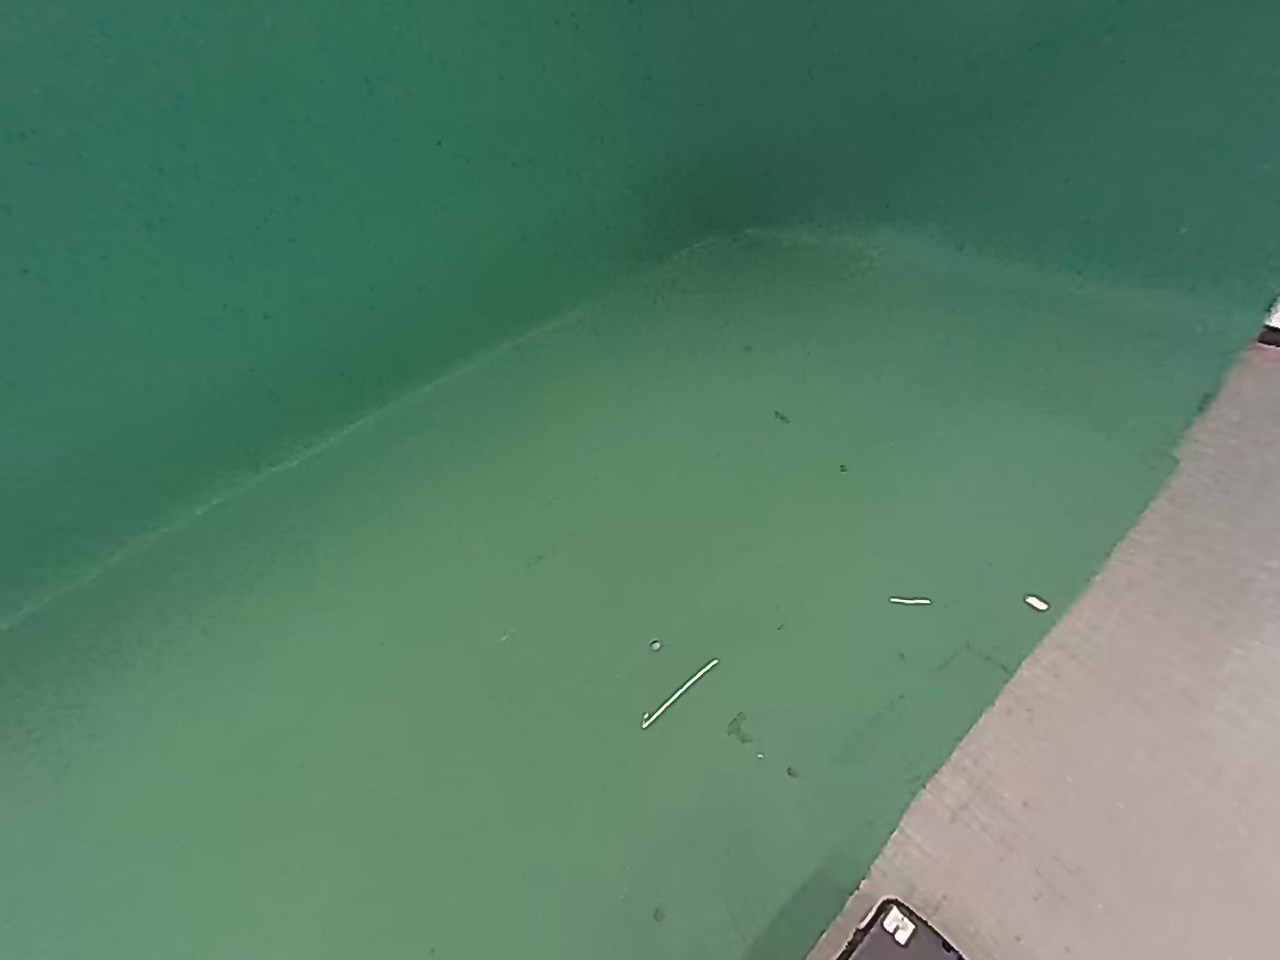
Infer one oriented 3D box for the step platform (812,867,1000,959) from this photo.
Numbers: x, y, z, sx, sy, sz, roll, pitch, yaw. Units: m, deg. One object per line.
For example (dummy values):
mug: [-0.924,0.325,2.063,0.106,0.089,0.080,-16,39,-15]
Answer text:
step platform: [0.338,1.030,0.898,0.684,0.204,0.286,-37,50,-20]
